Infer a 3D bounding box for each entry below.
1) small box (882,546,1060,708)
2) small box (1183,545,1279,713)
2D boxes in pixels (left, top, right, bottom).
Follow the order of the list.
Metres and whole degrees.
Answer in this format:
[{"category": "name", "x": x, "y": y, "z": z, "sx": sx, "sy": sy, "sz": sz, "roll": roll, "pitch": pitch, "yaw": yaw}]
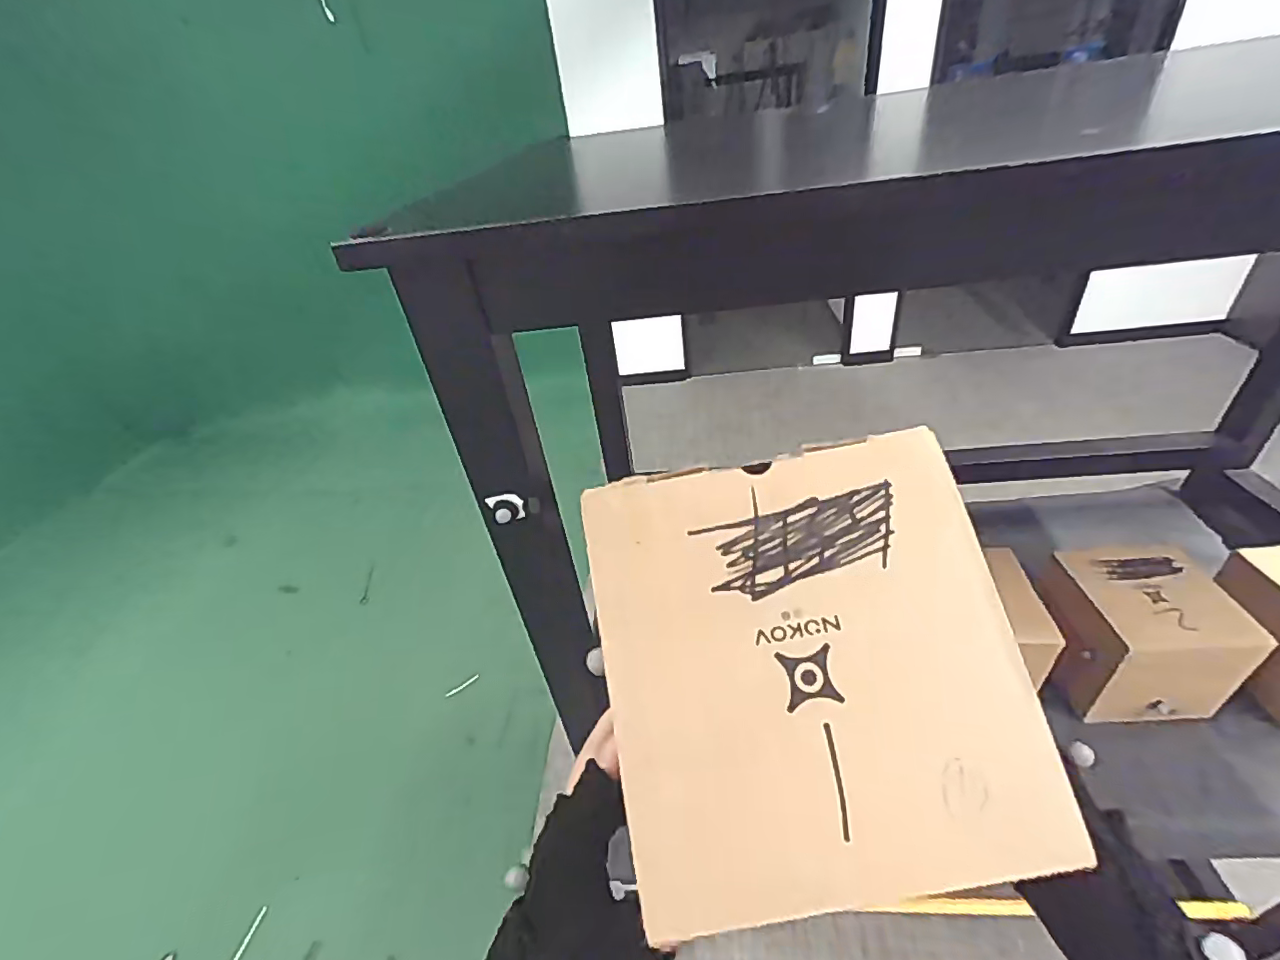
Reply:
[{"category": "small box", "x": 0.474, "y": 0.219, "z": 0.809, "sx": 0.168, "sy": 0.176, "sz": 0.179, "roll": -2, "pitch": 36, "yaw": 10}, {"category": "small box", "x": 0.915, "y": 0.204, "z": 0.728, "sx": 0.168, "sy": 0.176, "sz": 0.179, "roll": -5, "pitch": 36, "yaw": 5}]
